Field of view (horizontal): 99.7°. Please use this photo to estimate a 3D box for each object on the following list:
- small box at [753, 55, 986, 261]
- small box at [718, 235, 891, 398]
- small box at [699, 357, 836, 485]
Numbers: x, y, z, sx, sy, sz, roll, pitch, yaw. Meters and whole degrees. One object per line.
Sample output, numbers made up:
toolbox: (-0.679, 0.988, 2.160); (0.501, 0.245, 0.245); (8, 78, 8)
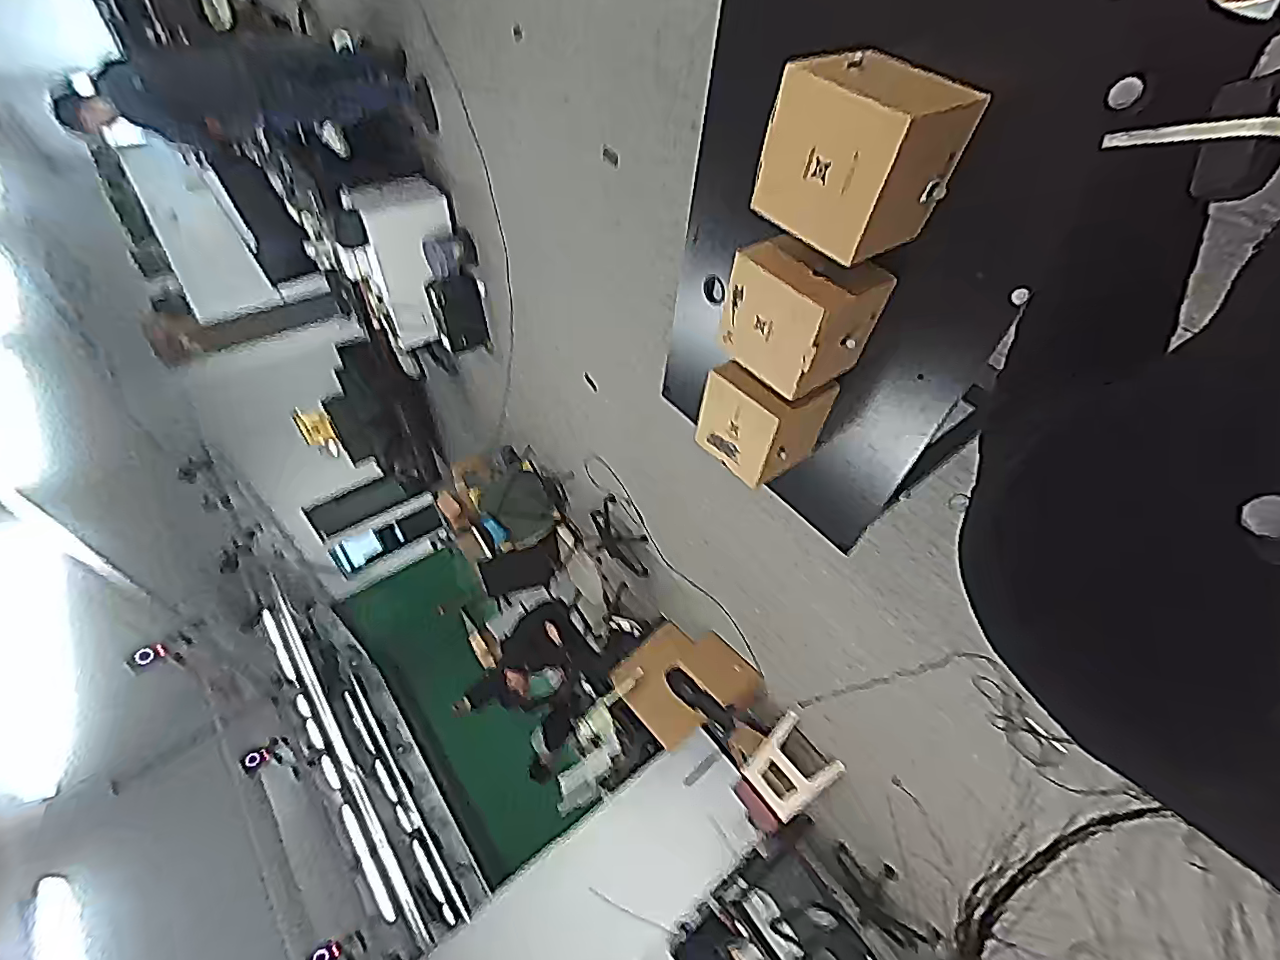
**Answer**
small box: (0.278, -0.410, 0.680); (0.179, 0.176, 0.168); (46, 151, 26)
small box: (0.256, -0.267, 0.854); (0.179, 0.176, 0.168); (46, 150, 27)
small box: (0.237, -0.129, 1.018); (0.168, 0.176, 0.179); (44, 148, 29)
